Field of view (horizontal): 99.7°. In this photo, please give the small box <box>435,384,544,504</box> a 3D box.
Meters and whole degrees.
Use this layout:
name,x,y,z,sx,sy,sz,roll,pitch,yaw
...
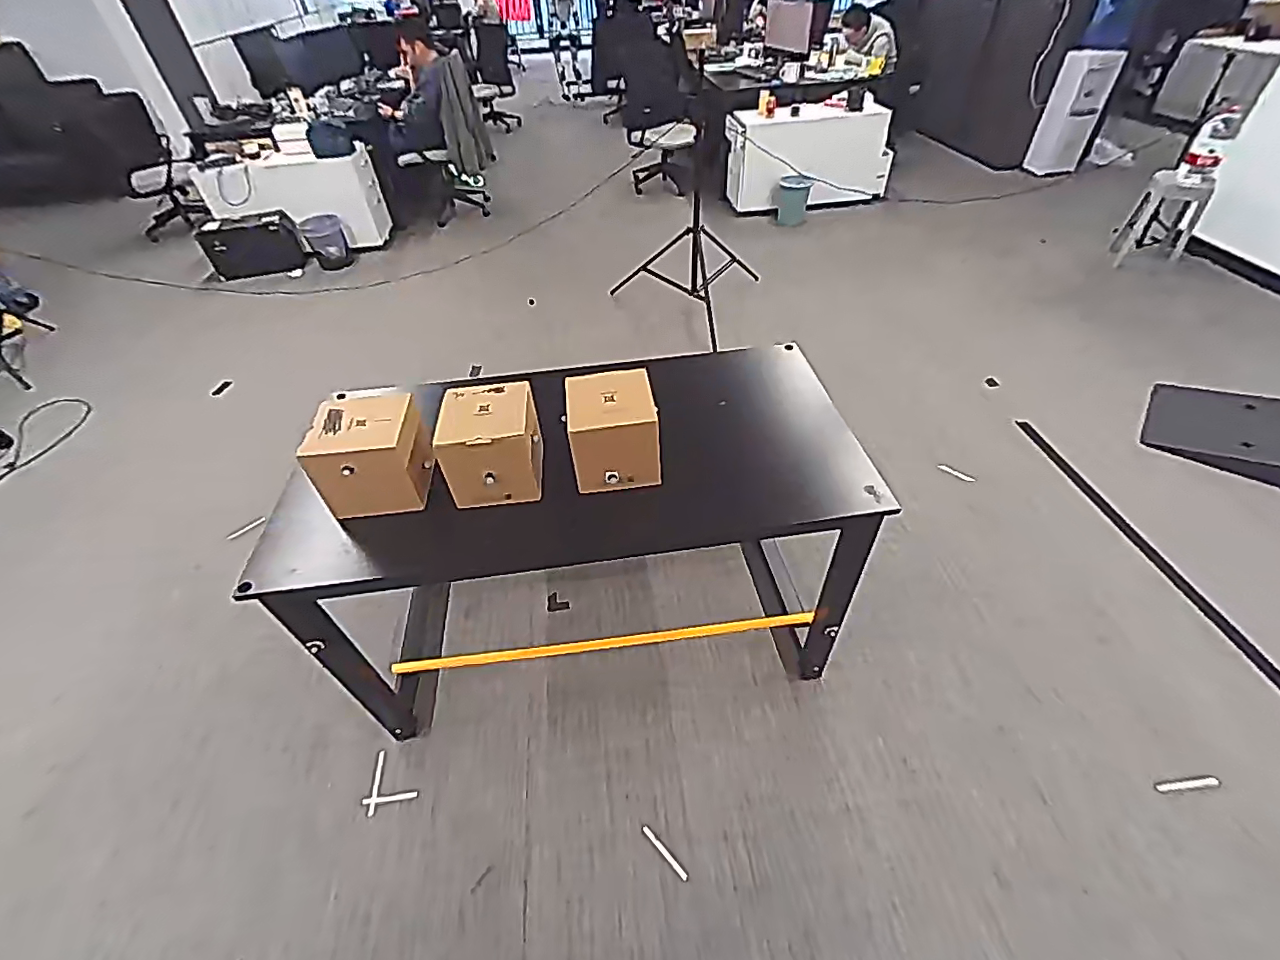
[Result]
name,x,y,z,sx,sy,sz,roll,pitch,yaw
small box,-0.287,-0.066,1.074,0.168,0.176,0.179,-6,45,-2

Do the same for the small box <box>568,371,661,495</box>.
name,x,y,z,sx,sy,sz,roll,pitch,yaw
small box,-0.051,-0.094,1.088,0.168,0.176,0.179,-8,45,-3

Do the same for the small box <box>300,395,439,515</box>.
name,x,y,z,sx,sy,sz,roll,pitch,yaw
small box,-0.518,-0.045,1.065,0.179,0.176,0.168,-6,45,-3
